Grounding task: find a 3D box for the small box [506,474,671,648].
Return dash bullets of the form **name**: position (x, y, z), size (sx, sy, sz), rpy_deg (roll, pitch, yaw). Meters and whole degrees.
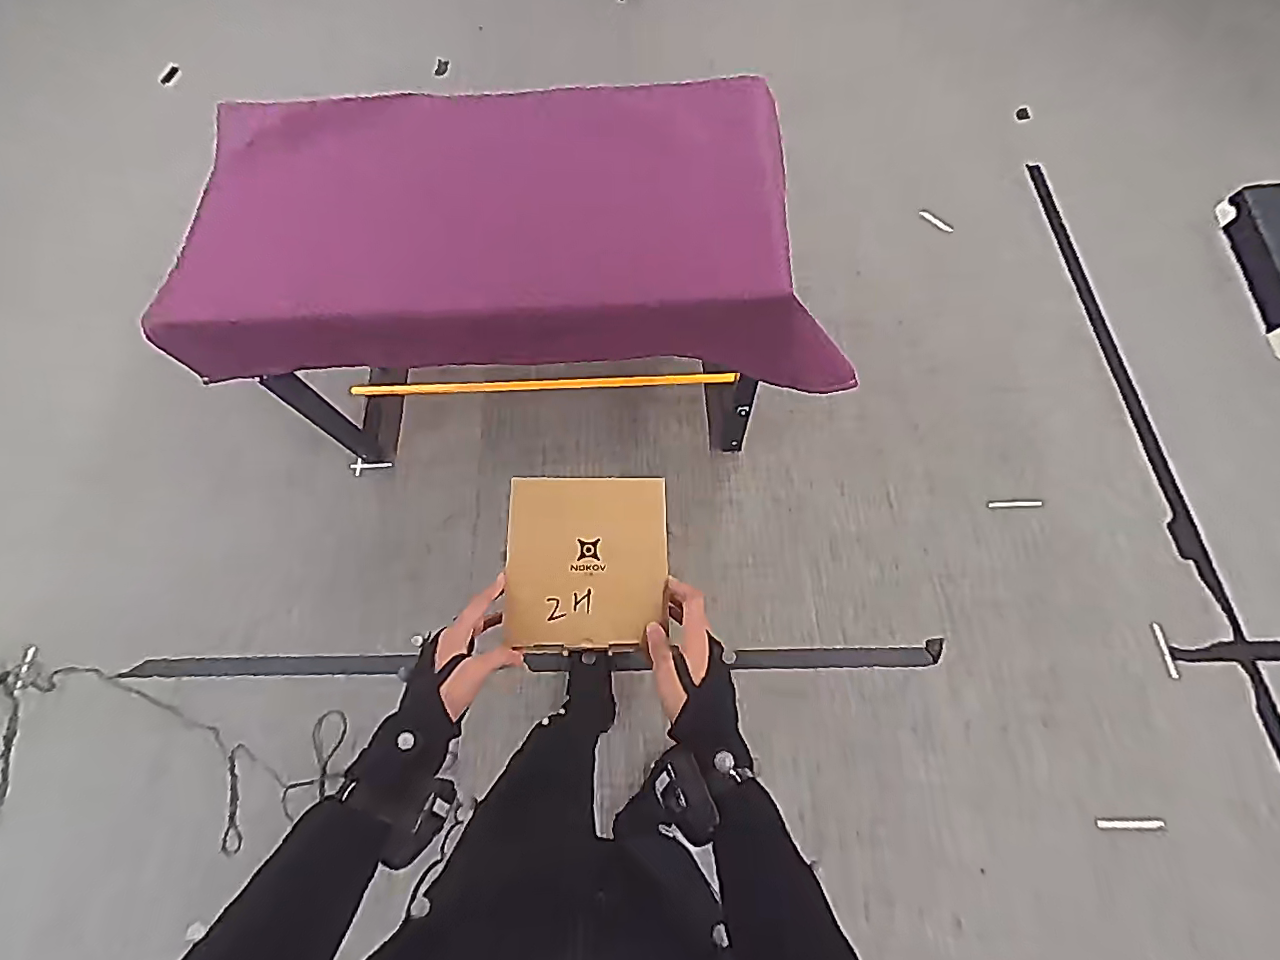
- **small box**: position (-0.055, 0.102, 0.634), size (0.168, 0.176, 0.179), rpy_deg (1, 72, -3)
